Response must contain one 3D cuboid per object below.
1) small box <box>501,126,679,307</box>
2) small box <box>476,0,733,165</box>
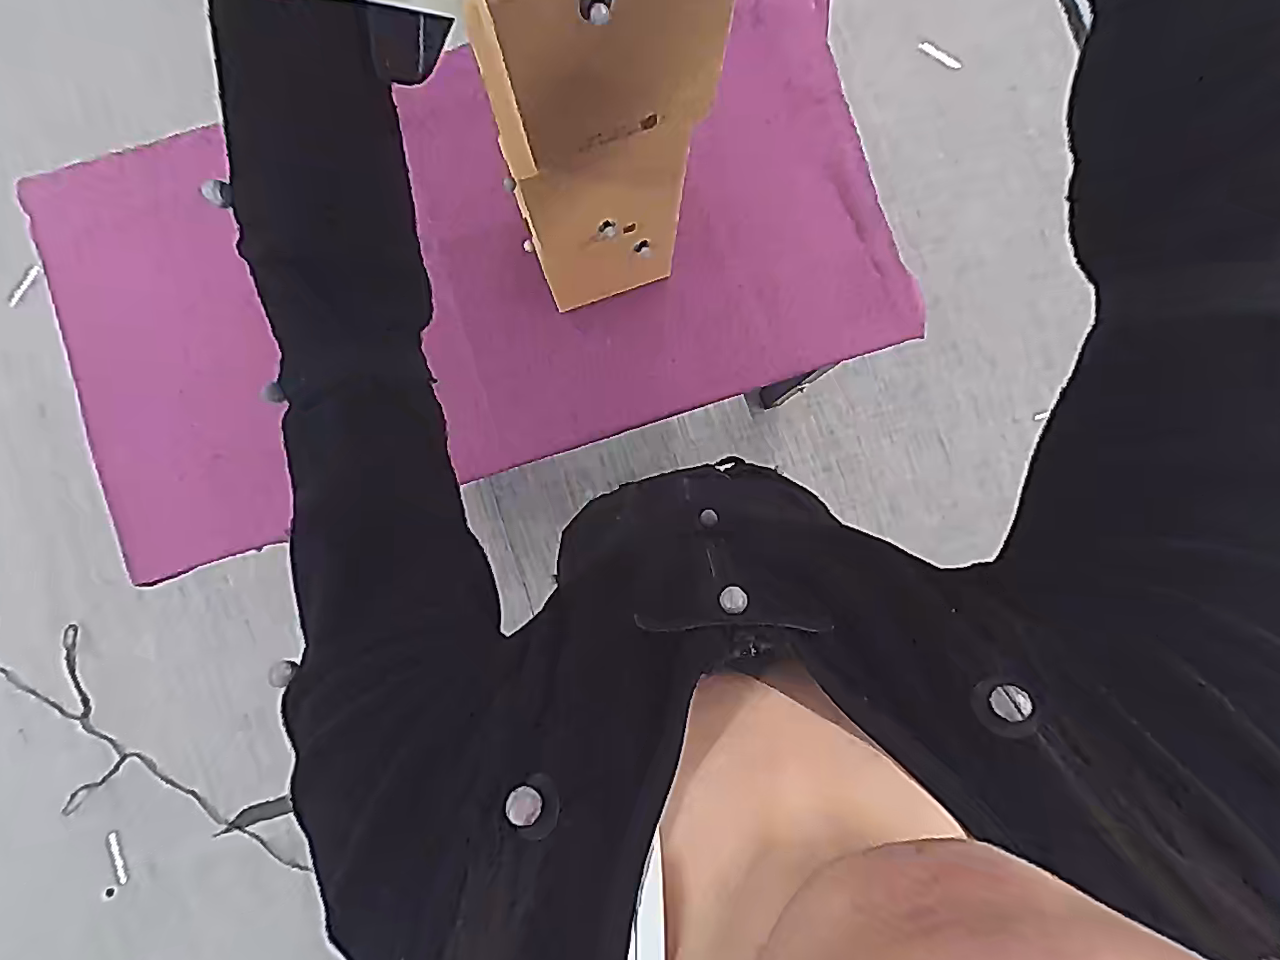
[{"bbox_3d":[-0.060,-0.358,0.721,0.179,0.176,0.168,-19,87,0],"label":"small box"},{"bbox_3d":[-0.040,-0.379,0.395,0.168,0.176,0.179,-19,87,-1],"label":"small box"}]
